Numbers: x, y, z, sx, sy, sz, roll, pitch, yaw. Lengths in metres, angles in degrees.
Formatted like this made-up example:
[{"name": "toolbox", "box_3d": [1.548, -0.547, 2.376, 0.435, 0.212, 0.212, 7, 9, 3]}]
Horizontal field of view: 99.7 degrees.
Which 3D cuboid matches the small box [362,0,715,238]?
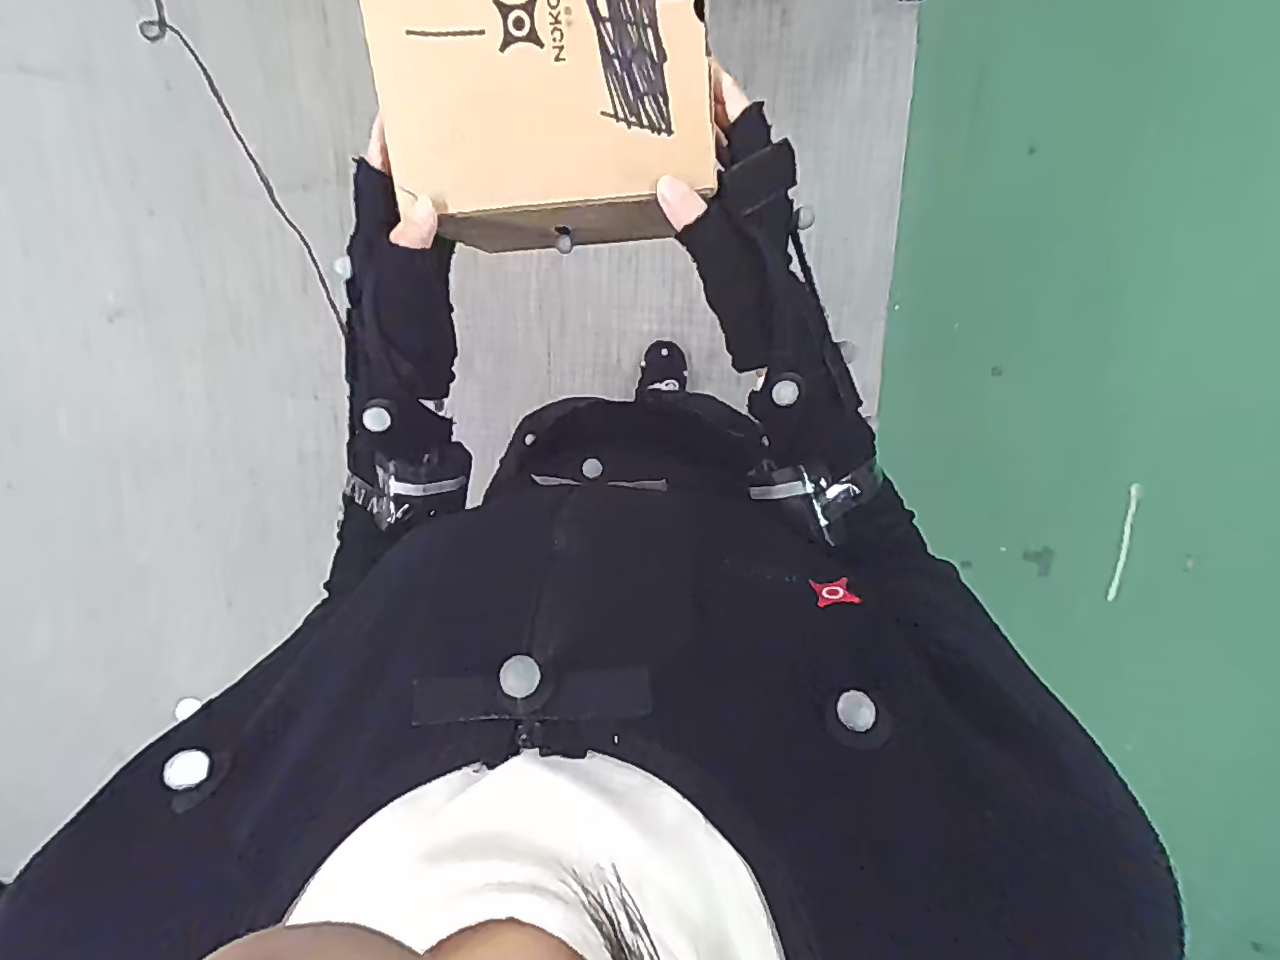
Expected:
[{"name": "small box", "box_3d": [-0.051, -0.258, 0.347, 0.179, 0.176, 0.168, -4, 108, 3]}]
